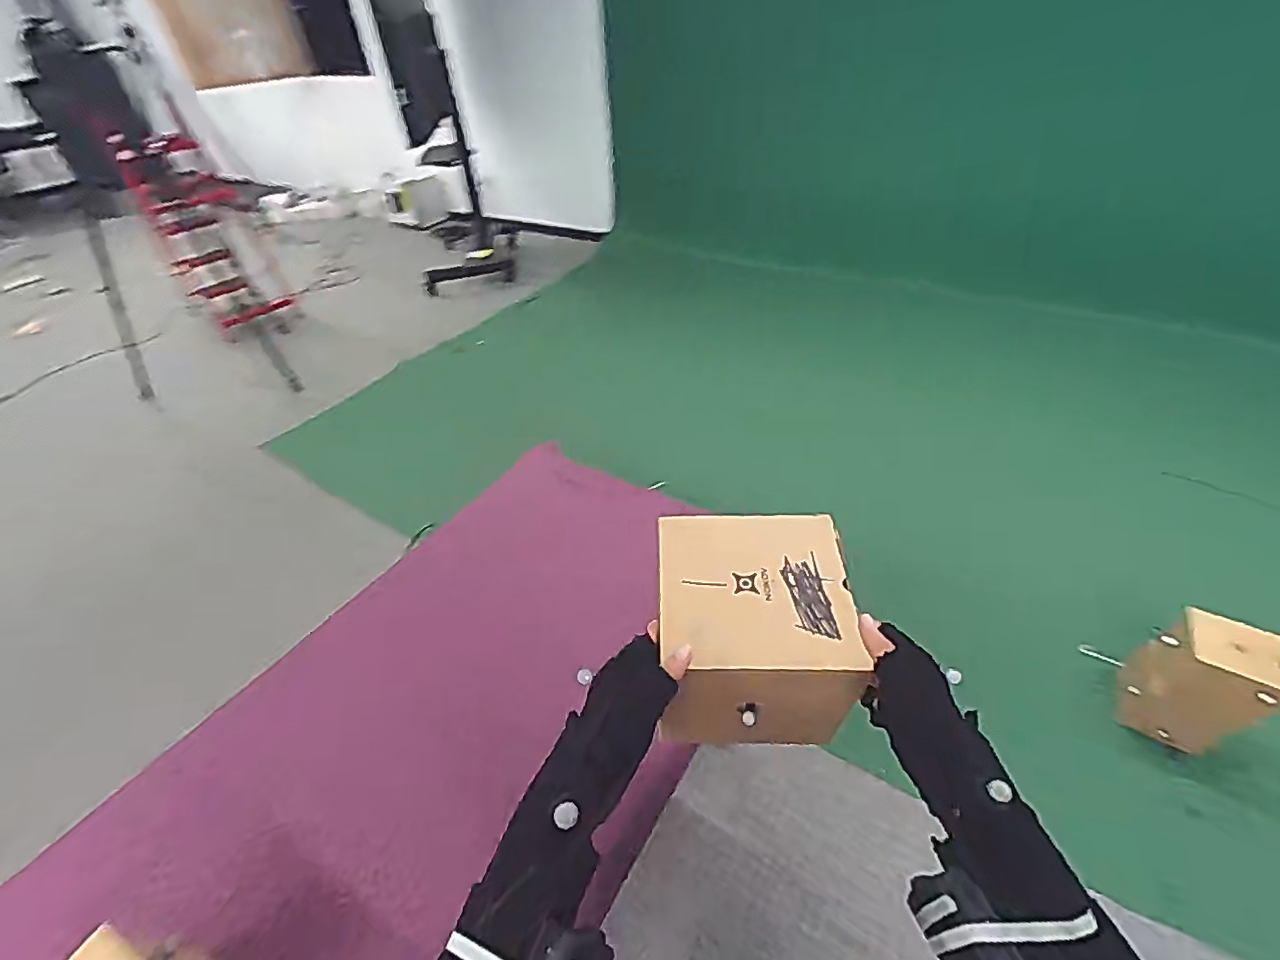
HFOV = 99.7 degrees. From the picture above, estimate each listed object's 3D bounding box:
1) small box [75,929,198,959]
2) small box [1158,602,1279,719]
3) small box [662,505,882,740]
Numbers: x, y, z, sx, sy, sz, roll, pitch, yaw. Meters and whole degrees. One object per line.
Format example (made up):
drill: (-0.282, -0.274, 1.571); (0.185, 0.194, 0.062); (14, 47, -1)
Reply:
small box: (-0.439, 0.537, 0.459); (0.179, 0.176, 0.168); (15, 45, 20)
small box: (1.373, 0.429, 1.277); (0.179, 0.176, 0.168); (21, 48, 24)
small box: (0.115, 0.145, 0.545); (0.179, 0.176, 0.168); (2, 44, 5)
